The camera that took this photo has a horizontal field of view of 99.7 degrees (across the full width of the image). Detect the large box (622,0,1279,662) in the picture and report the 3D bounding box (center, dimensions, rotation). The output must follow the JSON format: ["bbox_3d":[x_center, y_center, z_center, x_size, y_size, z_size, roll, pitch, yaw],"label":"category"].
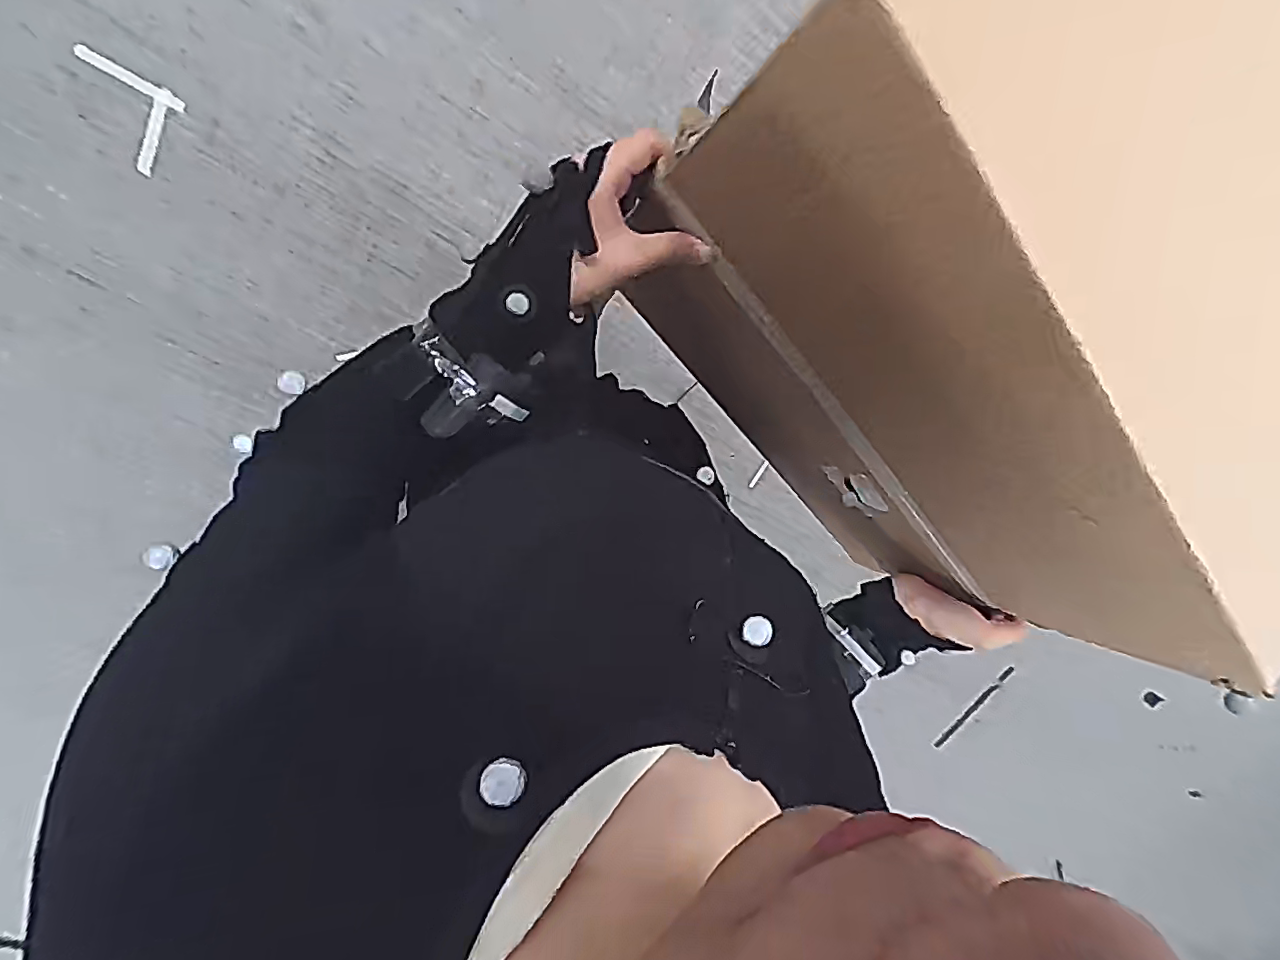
[{"bbox_3d":[0.265,-0.158,0.366,0.408,0.320,0.320,44,81,-18],"label":"large box"}]
